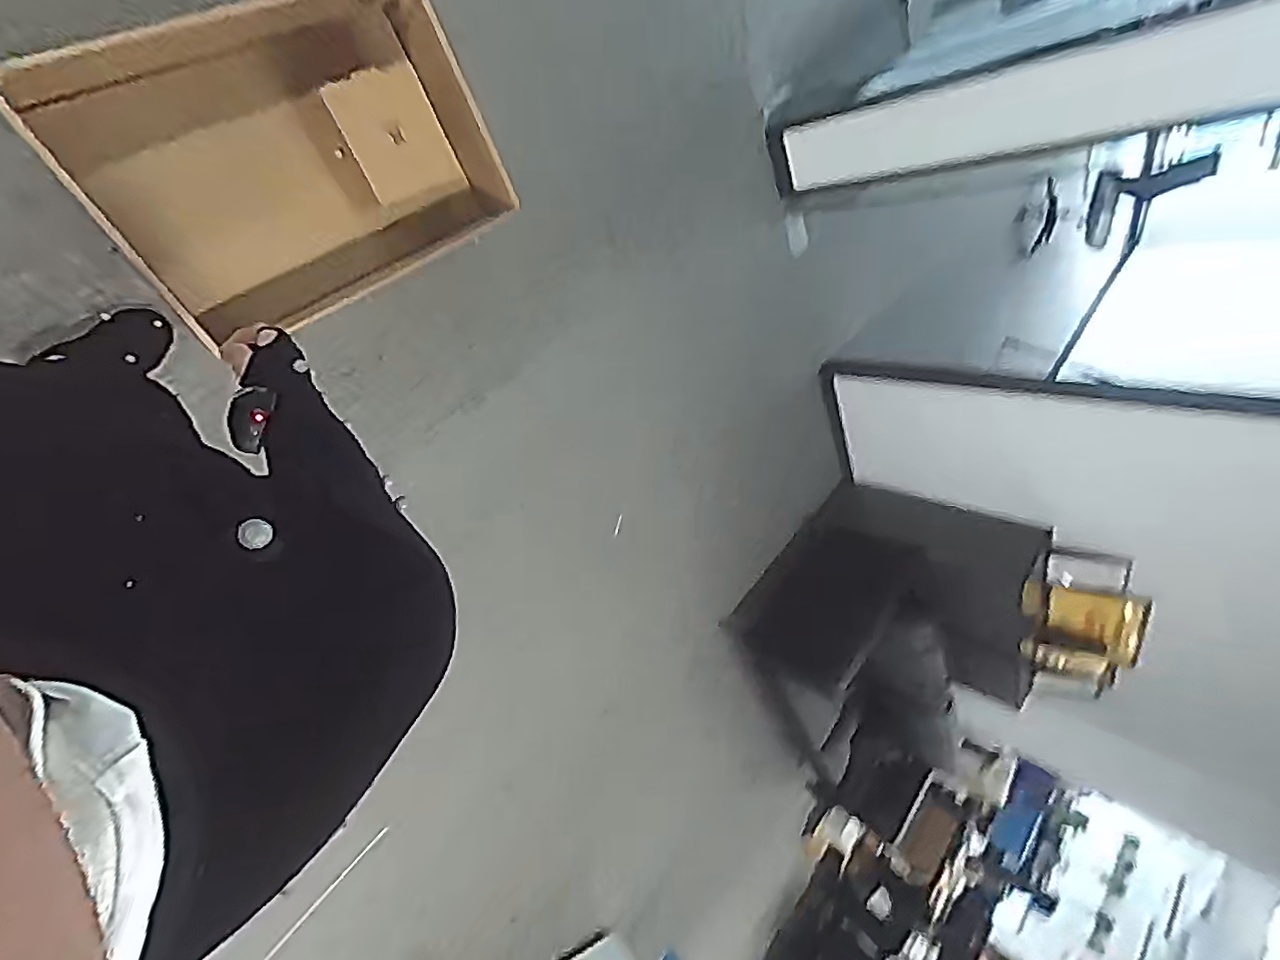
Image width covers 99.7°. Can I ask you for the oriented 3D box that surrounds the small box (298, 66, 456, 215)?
[{"bbox_3d":[-0.472,-0.598,0.968,0.168,0.176,0.179,-40,129,-26],"label":"small box"}]
